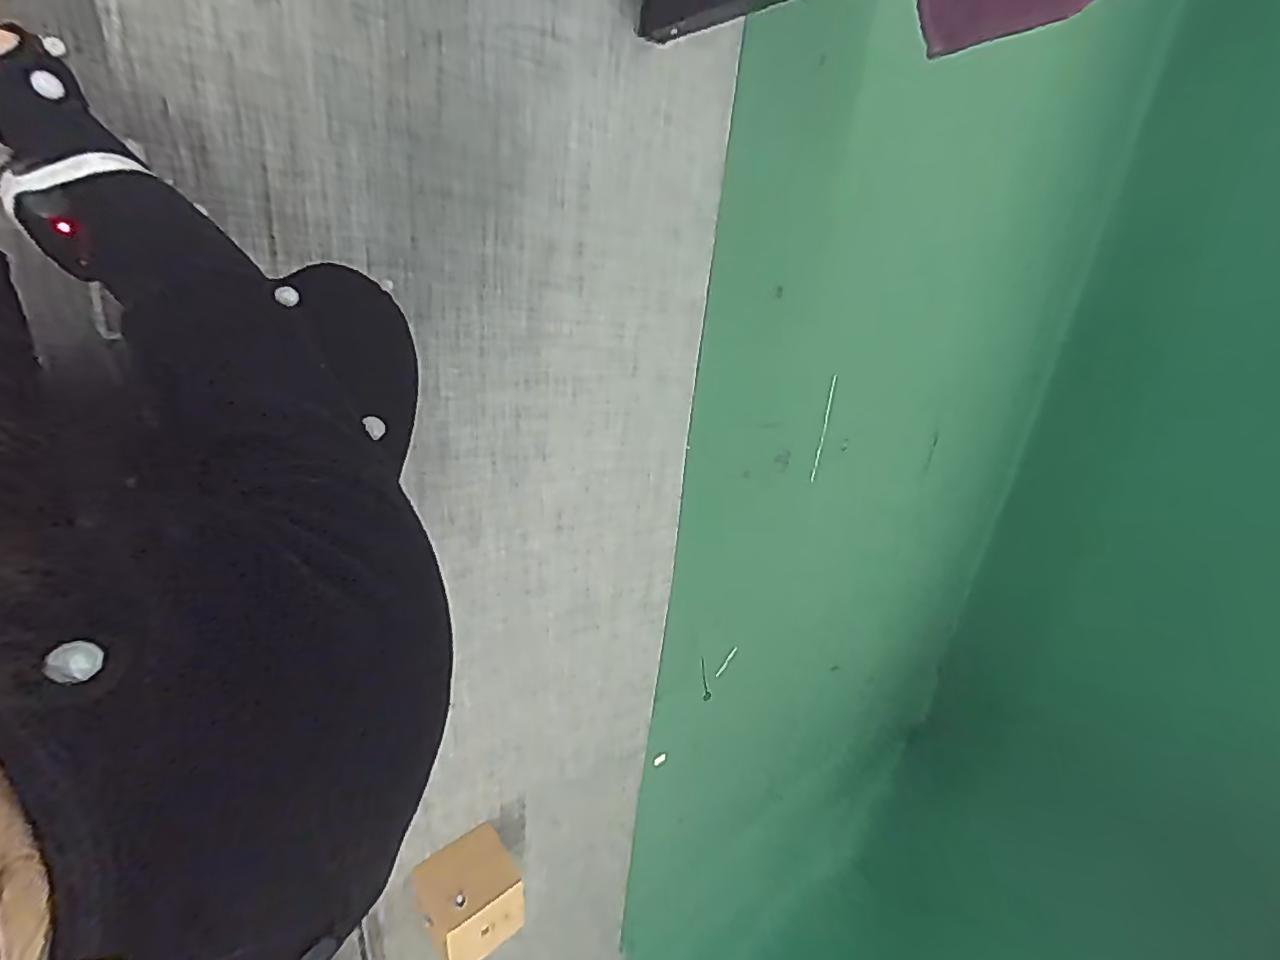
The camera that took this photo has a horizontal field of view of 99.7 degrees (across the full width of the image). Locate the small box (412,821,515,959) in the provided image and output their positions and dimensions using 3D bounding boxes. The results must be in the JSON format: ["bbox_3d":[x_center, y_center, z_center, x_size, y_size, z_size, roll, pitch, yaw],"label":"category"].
[{"bbox_3d":[-0.397,0.921,1.207,0.179,0.176,0.168,-13,119,-39],"label":"small box"}]
